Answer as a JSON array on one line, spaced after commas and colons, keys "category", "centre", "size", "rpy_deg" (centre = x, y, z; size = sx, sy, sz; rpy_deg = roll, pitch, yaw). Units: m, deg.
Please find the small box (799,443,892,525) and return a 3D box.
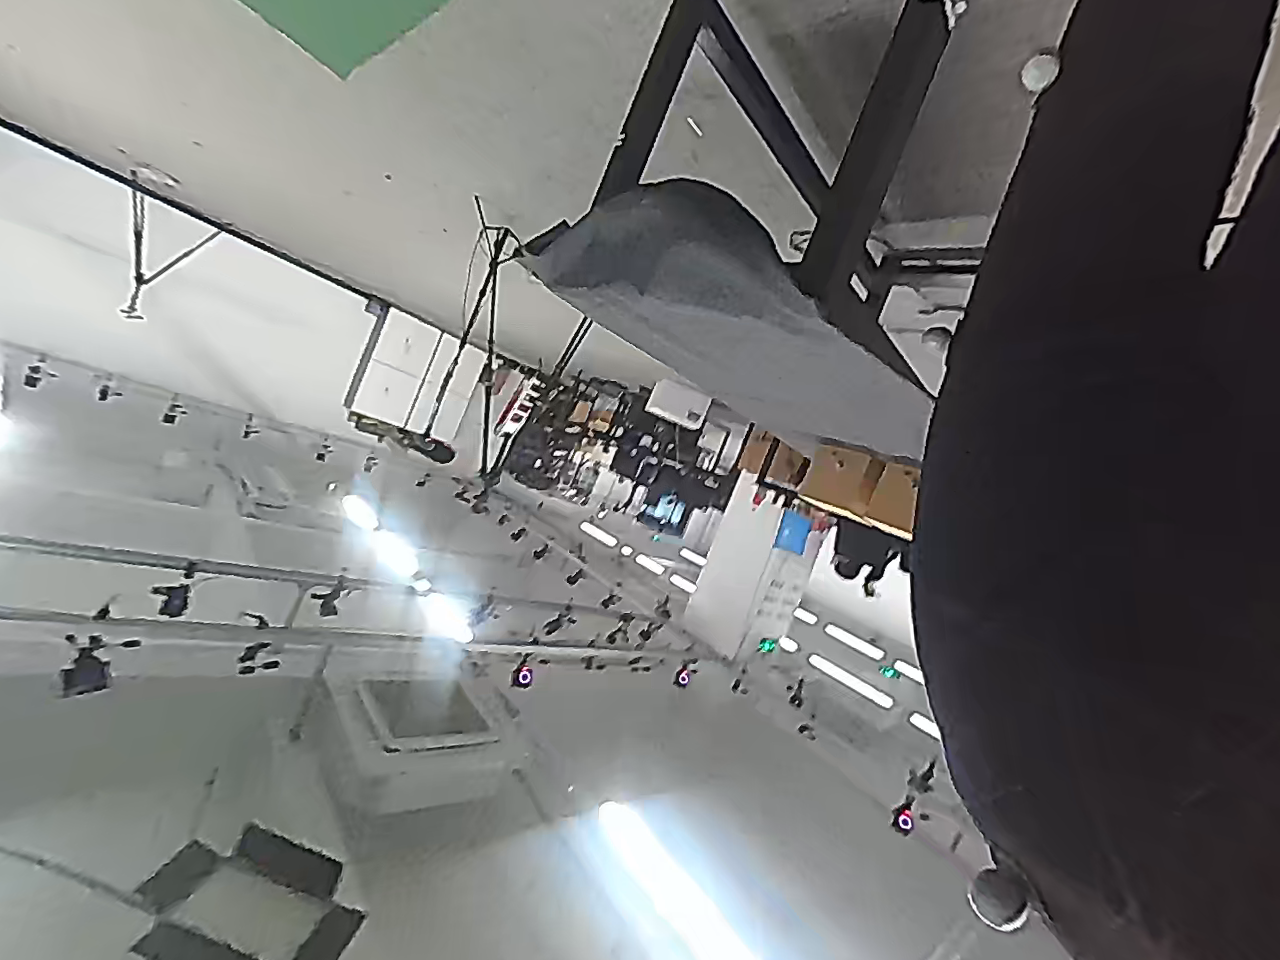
[{"category": "small box", "centre": [0.597, 0.010, 1.559], "size": [0.179, 0.176, 0.168], "rpy_deg": [23, 180, -43]}]
